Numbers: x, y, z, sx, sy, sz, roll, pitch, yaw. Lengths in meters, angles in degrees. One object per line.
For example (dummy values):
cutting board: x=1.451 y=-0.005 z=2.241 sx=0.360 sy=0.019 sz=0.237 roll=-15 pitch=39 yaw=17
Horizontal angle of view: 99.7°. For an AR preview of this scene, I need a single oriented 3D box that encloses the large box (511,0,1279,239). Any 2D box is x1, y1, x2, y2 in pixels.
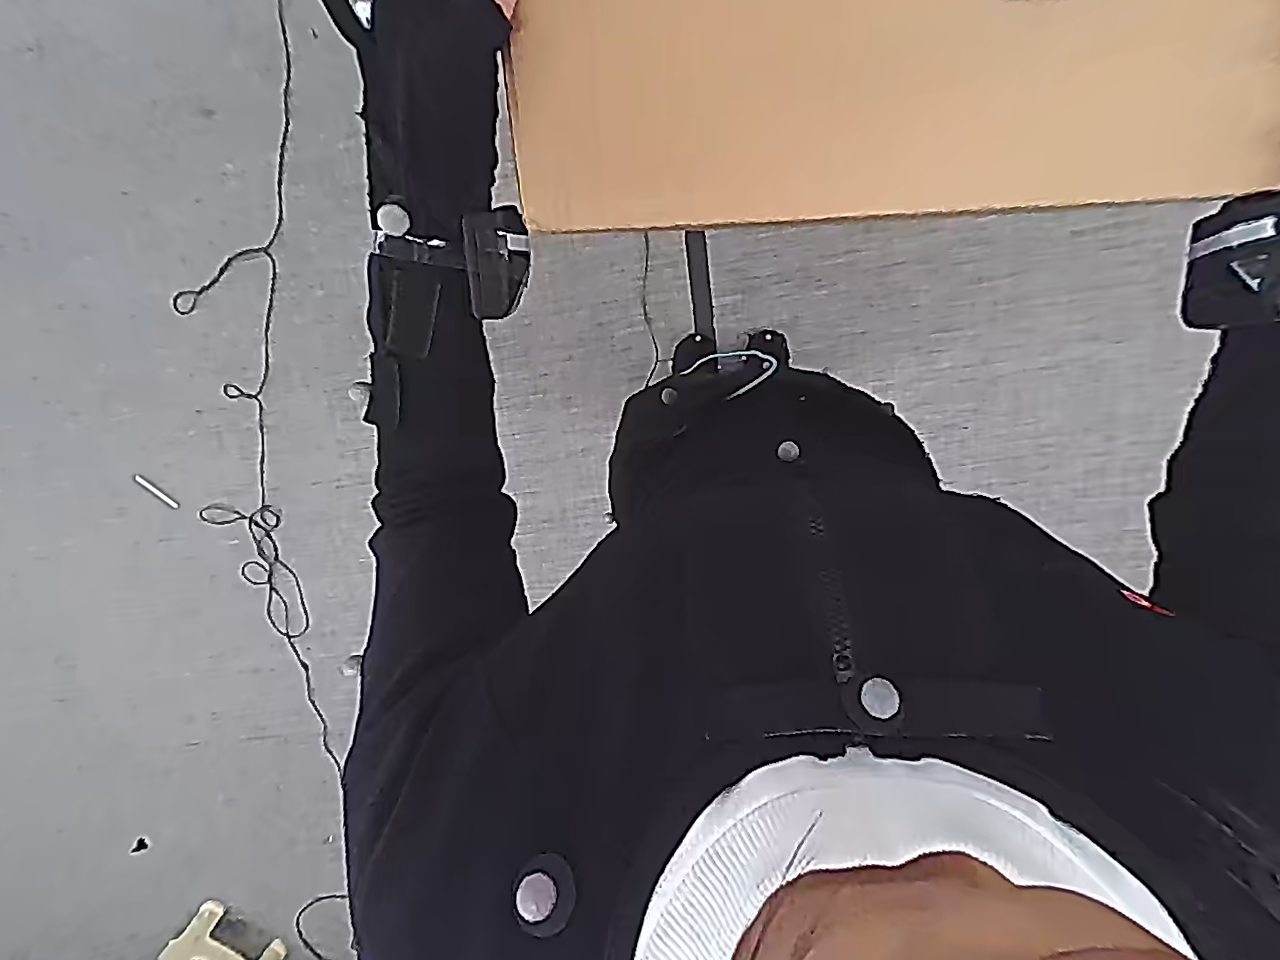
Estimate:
large box: x=0.130 y=-0.356 z=0.387 sx=0.408 sy=0.320 sz=0.320 roll=-2 pitch=115 yaw=3
